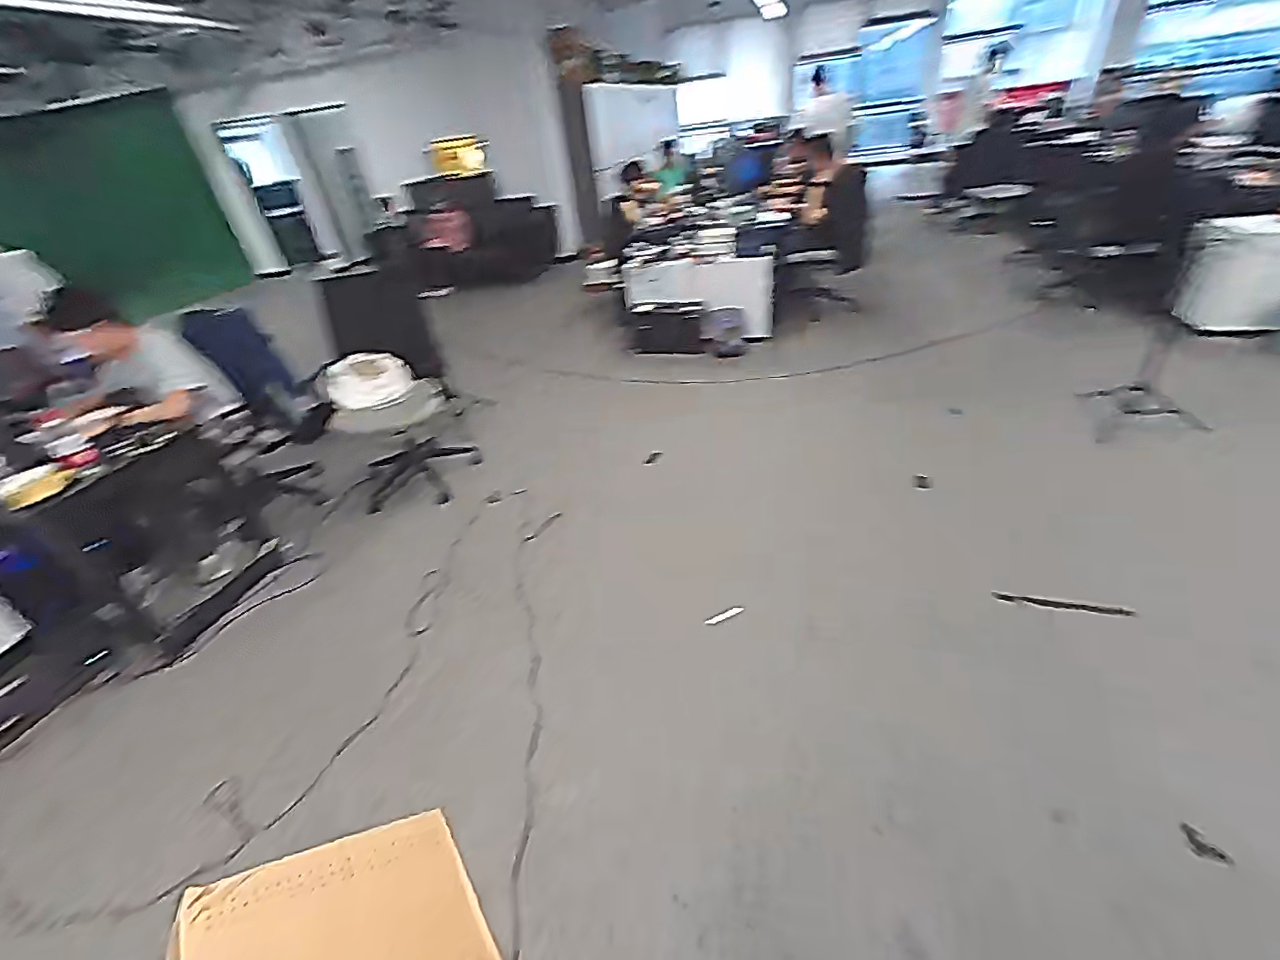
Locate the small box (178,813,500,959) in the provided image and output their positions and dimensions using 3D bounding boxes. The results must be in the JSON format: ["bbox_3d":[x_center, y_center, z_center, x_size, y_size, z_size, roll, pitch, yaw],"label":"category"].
[{"bbox_3d":[-0.210,0.375,0.376,0.179,0.168,0.176,10,17,-42],"label":"small box"}]
